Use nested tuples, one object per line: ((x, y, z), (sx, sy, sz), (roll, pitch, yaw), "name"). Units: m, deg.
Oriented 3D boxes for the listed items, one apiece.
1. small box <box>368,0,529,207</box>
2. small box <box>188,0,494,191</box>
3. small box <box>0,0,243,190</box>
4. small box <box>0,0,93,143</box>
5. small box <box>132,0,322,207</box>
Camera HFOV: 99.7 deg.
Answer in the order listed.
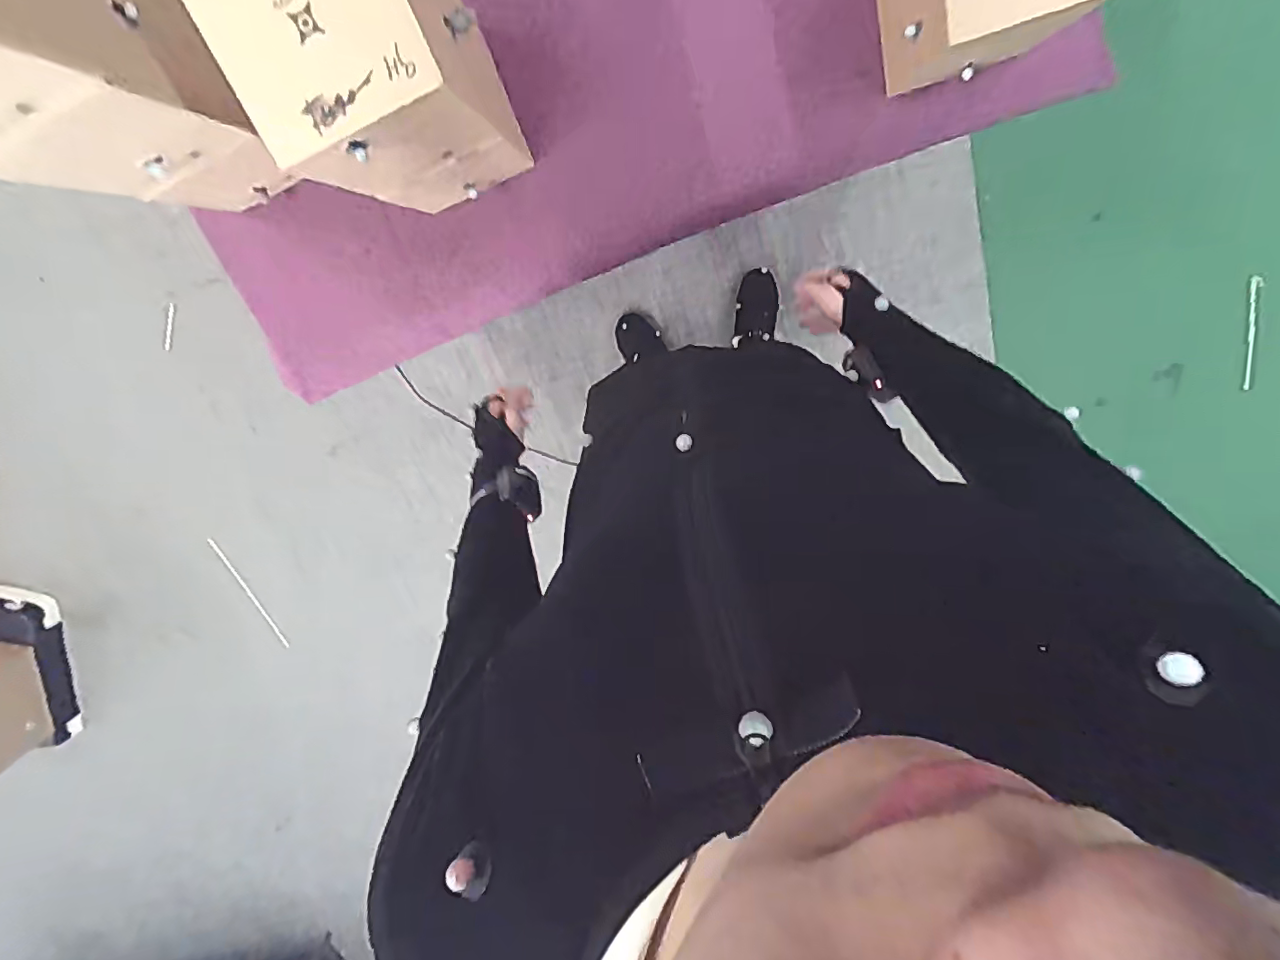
((-0.255, -0.455, 0.653), (0.168, 0.176, 0.179), (-19, 110, 10), "small box")
((-0.262, -0.398, 0.499), (0.168, 0.176, 0.179), (-20, 108, 10), "small box")
((-0.542, -0.402, 0.509), (0.168, 0.176, 0.179), (-21, 110, 11), "small box")
((-0.548, -0.342, 0.359), (0.168, 0.176, 0.179), (-21, 109, 11), "small box")
((-0.536, -0.461, 0.662), (0.168, 0.176, 0.179), (-20, 110, 10), "small box")
